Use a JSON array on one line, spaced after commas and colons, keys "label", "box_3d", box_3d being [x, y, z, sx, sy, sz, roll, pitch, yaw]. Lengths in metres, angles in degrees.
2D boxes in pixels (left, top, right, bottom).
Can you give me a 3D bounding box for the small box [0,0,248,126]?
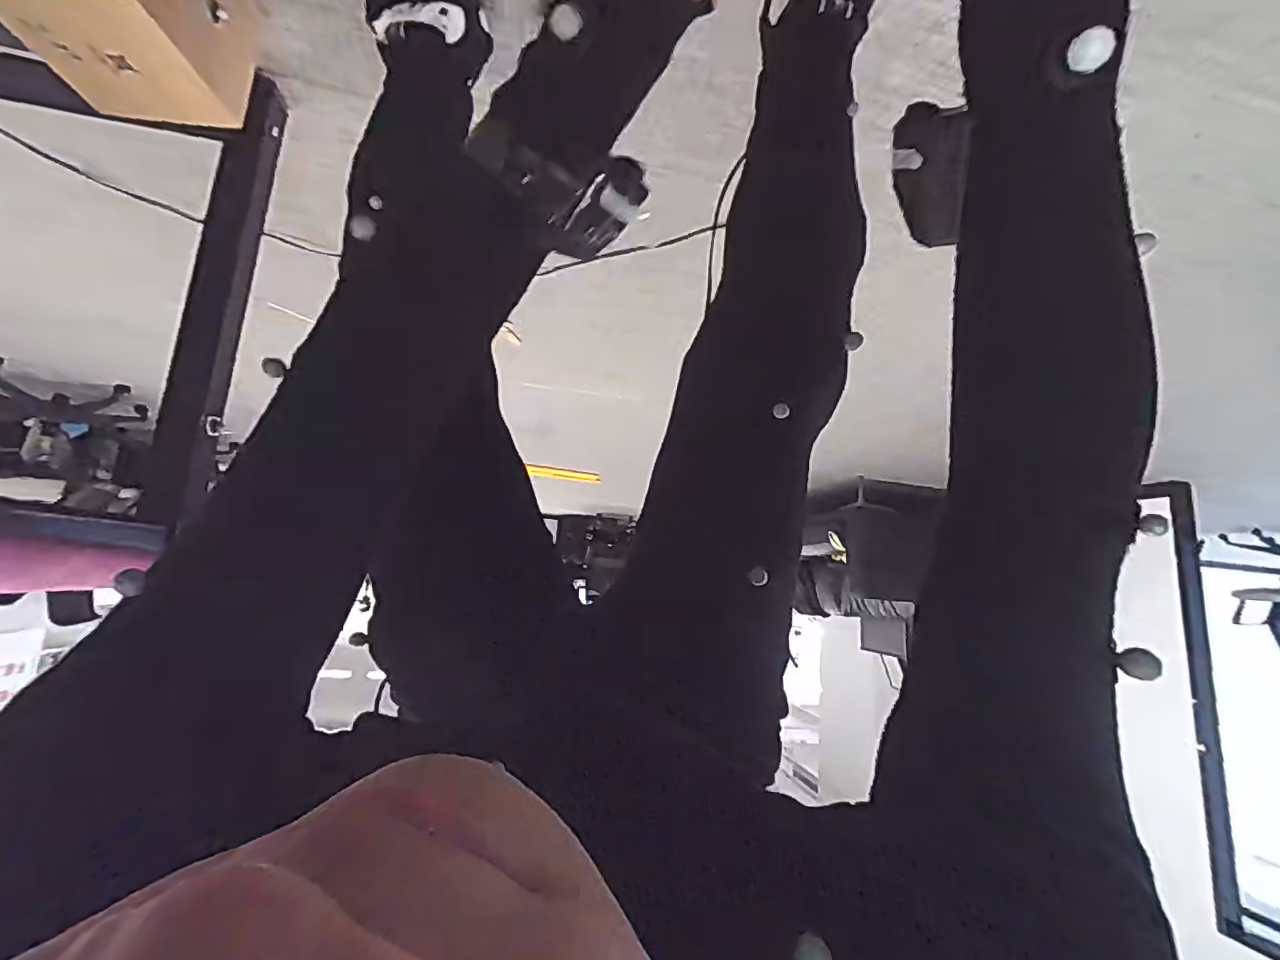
[{"label": "small box", "box_3d": [-0.572, -0.537, 0.597, 0.179, 0.176, 0.168, 5, 169, -4]}]
